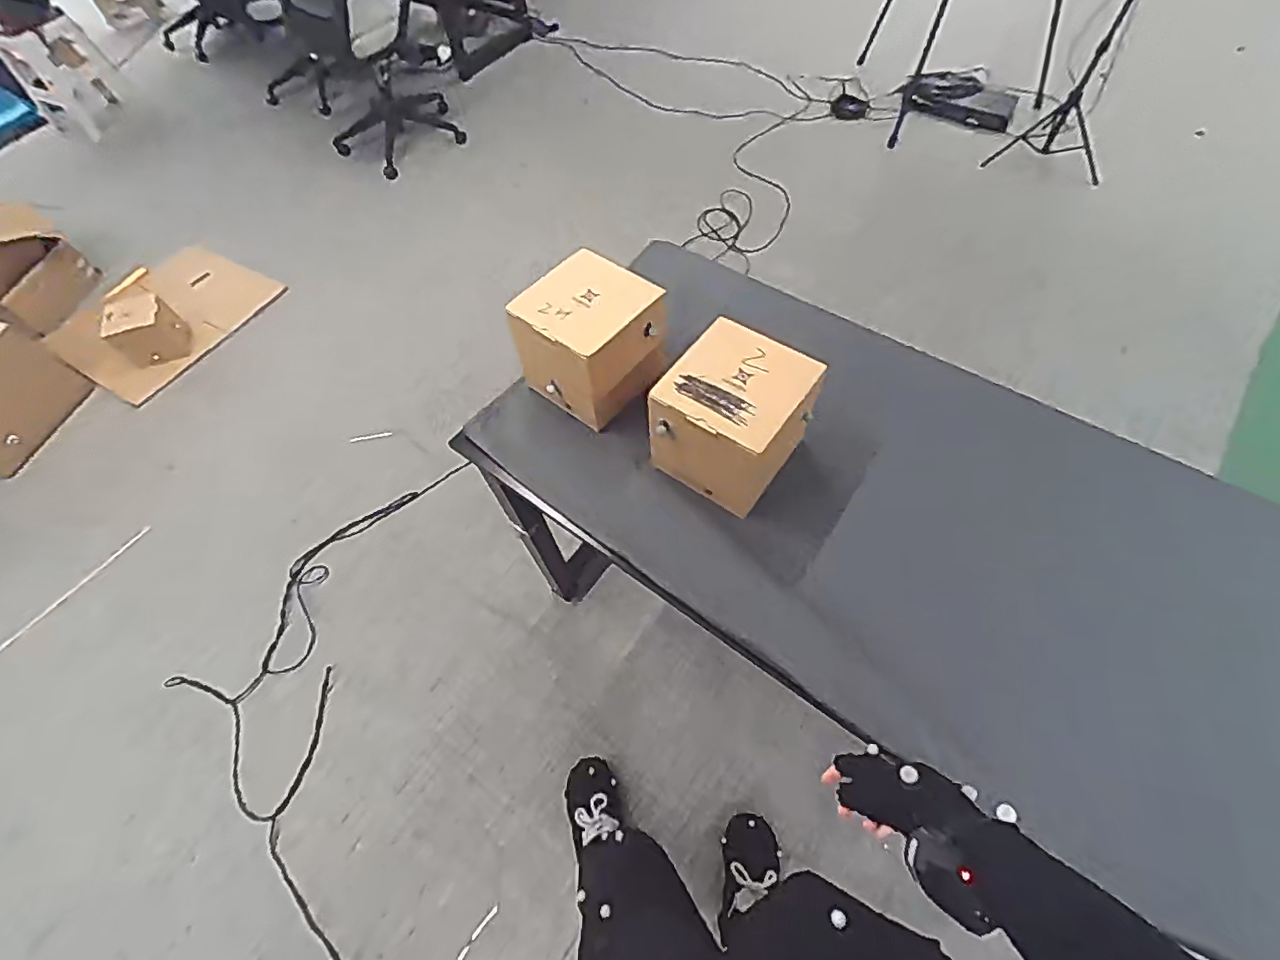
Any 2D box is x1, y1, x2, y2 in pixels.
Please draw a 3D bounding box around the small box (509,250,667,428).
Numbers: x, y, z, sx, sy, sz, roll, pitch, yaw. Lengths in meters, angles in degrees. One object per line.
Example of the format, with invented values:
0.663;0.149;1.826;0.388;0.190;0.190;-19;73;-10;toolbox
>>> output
-0.075;-0.219;0.853;0.168;0.176;0.179;35;66;21;small box
